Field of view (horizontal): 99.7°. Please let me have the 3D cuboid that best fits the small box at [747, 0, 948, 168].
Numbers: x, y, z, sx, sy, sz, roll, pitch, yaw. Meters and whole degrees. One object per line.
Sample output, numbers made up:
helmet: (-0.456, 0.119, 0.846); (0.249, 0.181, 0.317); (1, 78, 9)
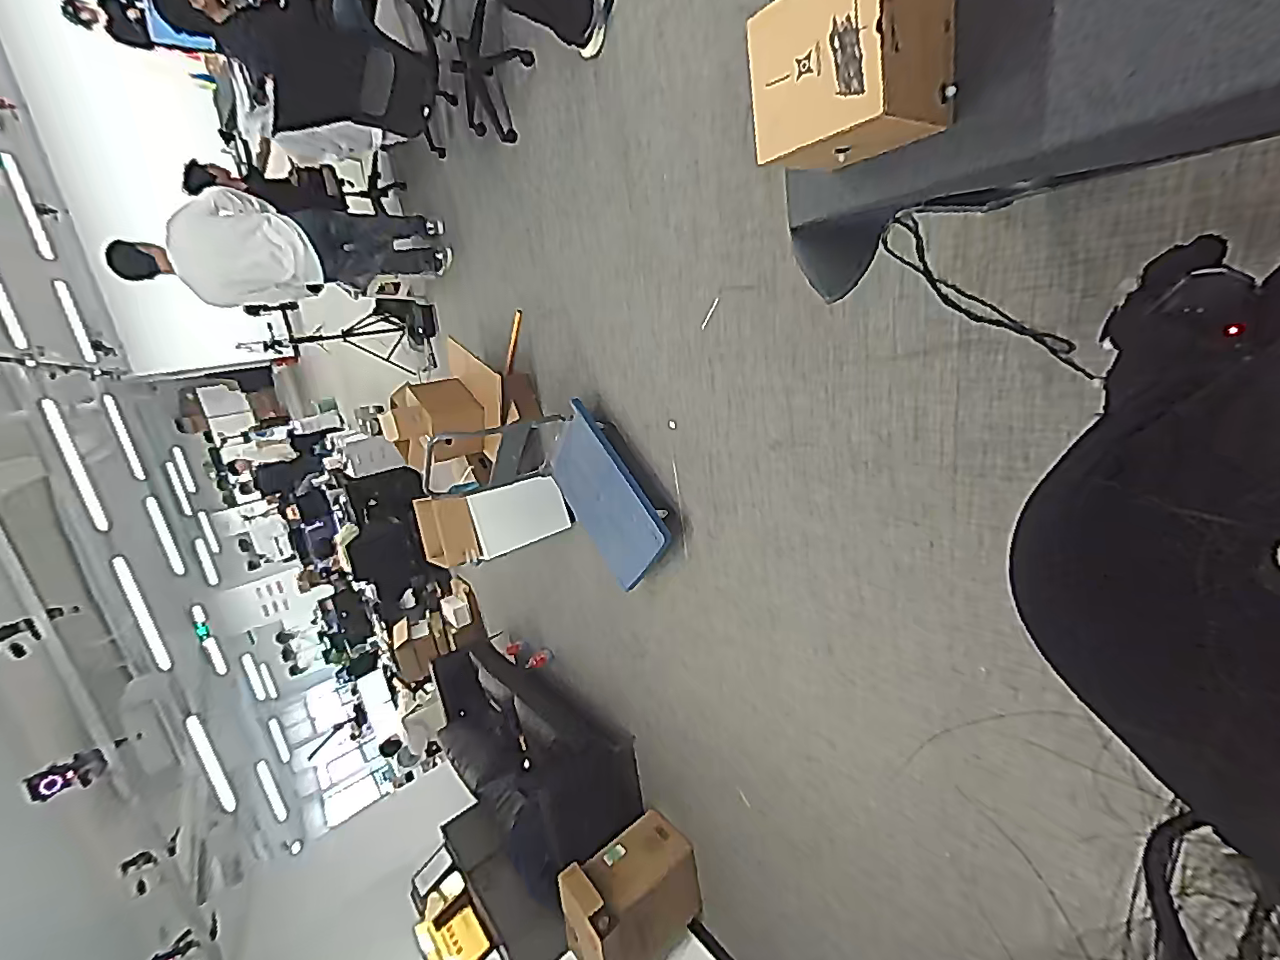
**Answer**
small box: (0.260, -0.505, 0.670); (0.179, 0.176, 0.168); (11, 115, 51)
